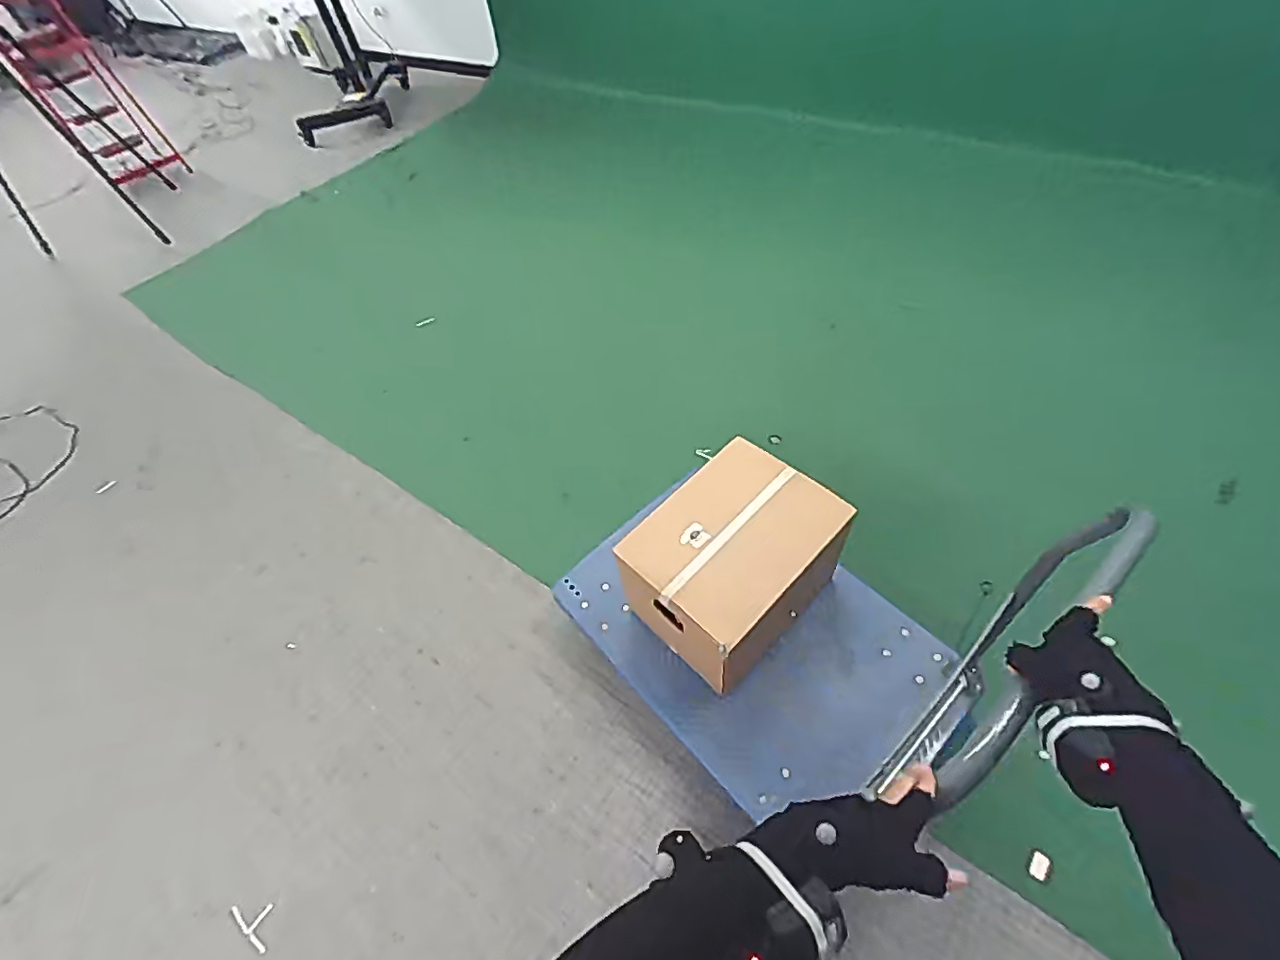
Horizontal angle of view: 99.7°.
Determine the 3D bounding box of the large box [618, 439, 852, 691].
[{"bbox_3d":[0.212,0.190,1.229,0.408,0.320,0.320,-42,59,-20],"label":"large box"}]
